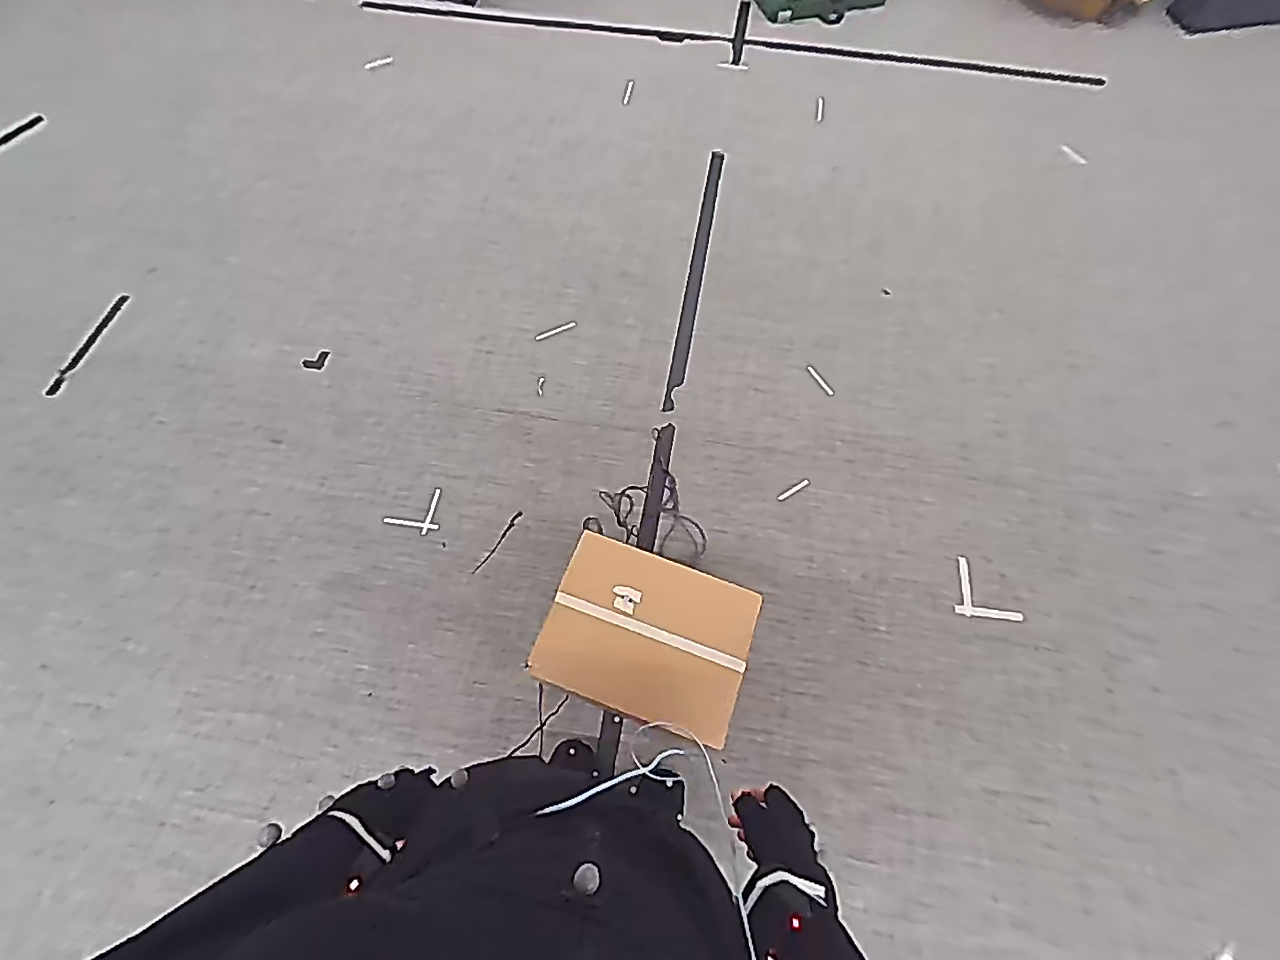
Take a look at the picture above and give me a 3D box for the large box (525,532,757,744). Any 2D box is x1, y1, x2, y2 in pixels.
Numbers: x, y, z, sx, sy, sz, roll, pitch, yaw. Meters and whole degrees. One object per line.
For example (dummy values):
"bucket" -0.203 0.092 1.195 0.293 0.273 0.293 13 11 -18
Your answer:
"large box" 0.007 0.366 1.227 0.408 0.320 0.320 20 65 6
